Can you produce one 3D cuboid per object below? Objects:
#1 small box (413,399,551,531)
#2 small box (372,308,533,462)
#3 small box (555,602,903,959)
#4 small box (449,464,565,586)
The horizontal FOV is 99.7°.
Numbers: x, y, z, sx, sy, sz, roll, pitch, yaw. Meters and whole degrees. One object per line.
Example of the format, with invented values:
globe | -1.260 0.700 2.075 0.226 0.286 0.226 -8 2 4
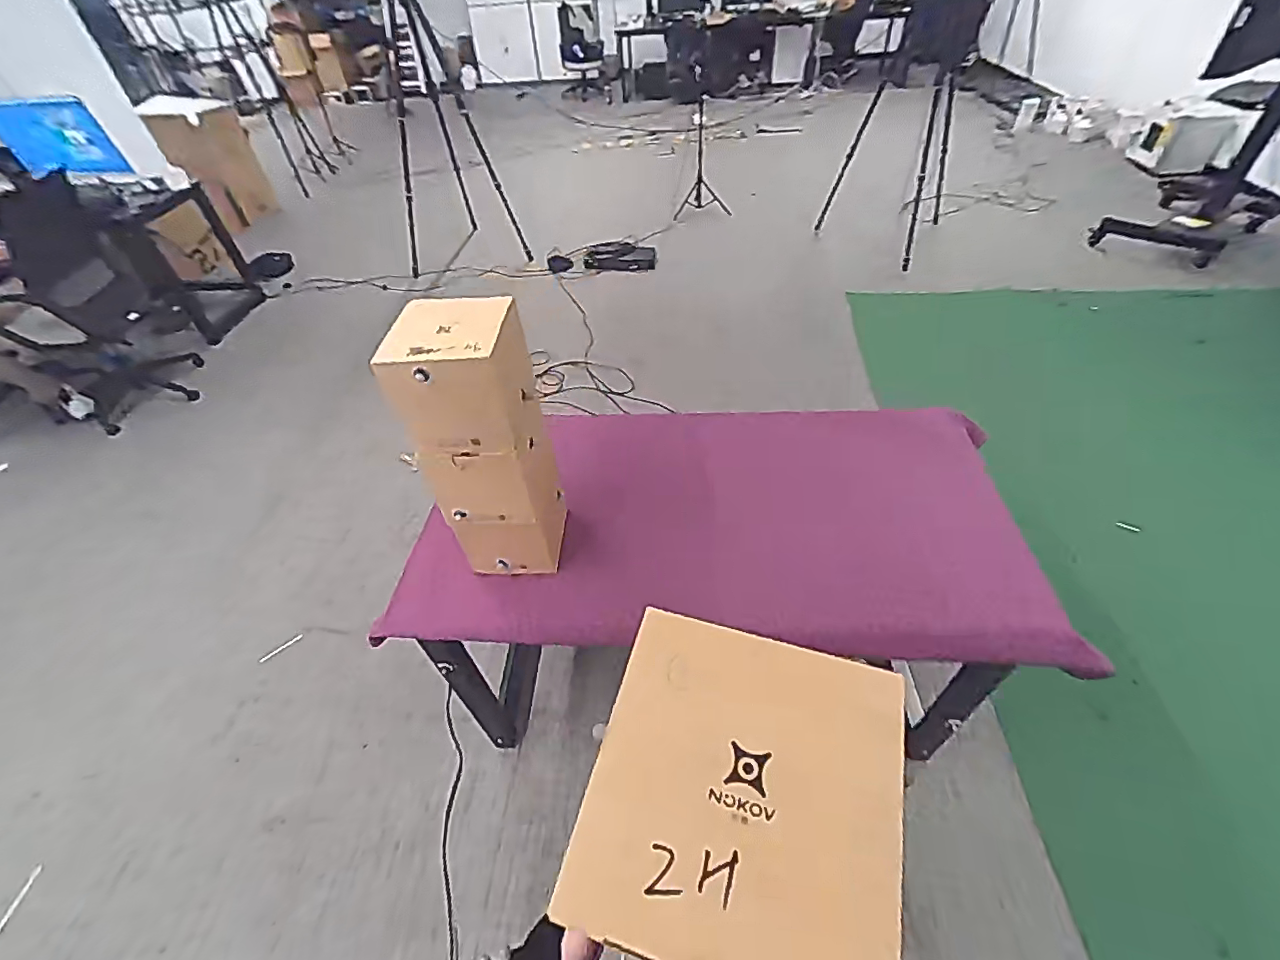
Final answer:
small box | -0.260 -0.023 0.942 0.168 0.176 0.179 -2 43 5
small box | -0.271 -0.145 0.833 0.168 0.176 0.179 -2 44 4
small box | 0.063 0.214 0.362 0.168 0.176 0.179 11 53 14
small box | -0.248 0.087 1.063 0.168 0.176 0.179 -1 45 5
